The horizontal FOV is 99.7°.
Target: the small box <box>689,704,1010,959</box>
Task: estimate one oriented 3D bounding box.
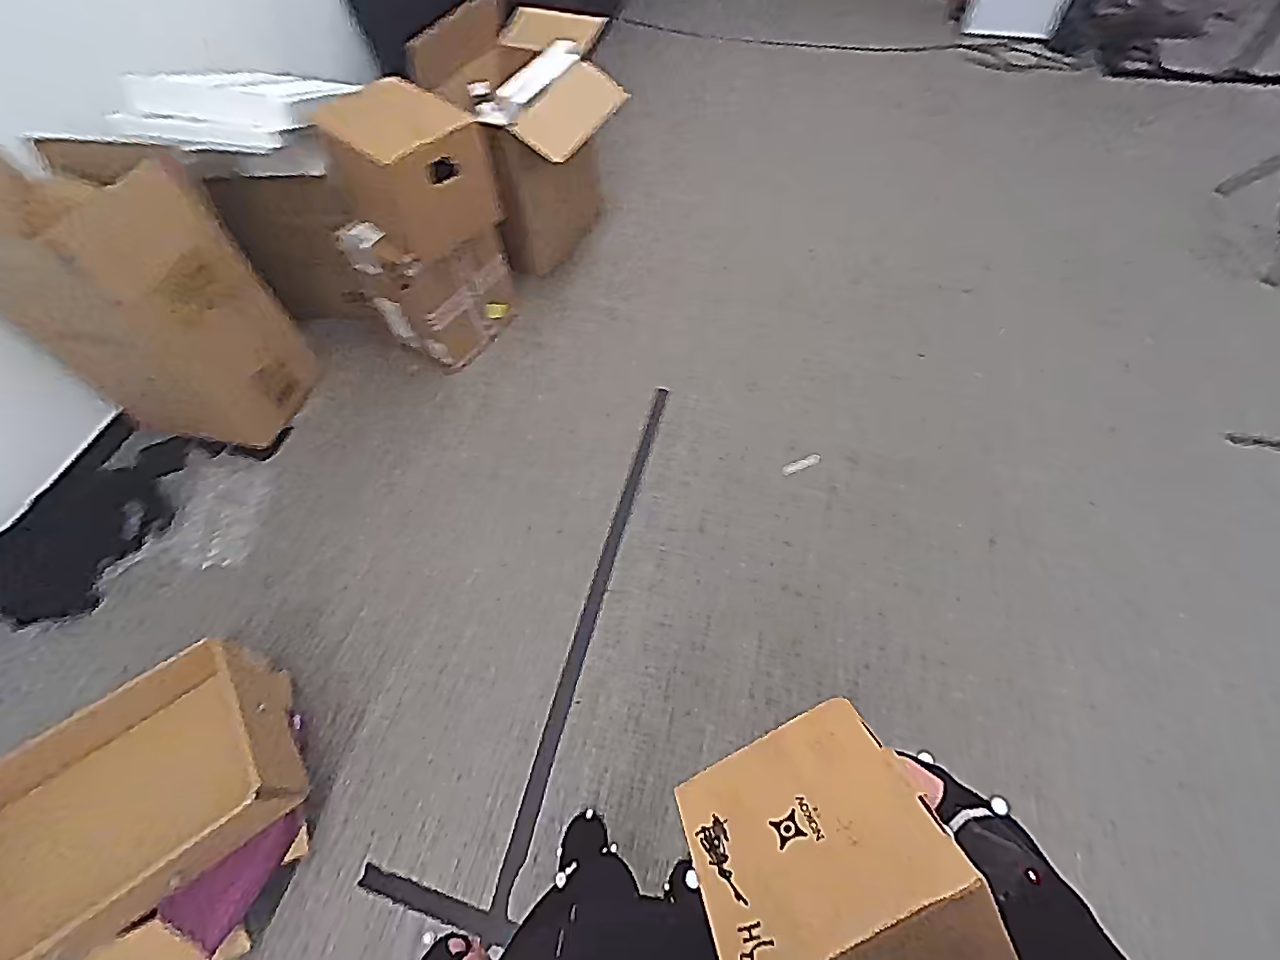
[{"bbox_3d":[0.166,0.332,0.443,0.179,0.176,0.168,-28,20,1],"label":"small box"}]
